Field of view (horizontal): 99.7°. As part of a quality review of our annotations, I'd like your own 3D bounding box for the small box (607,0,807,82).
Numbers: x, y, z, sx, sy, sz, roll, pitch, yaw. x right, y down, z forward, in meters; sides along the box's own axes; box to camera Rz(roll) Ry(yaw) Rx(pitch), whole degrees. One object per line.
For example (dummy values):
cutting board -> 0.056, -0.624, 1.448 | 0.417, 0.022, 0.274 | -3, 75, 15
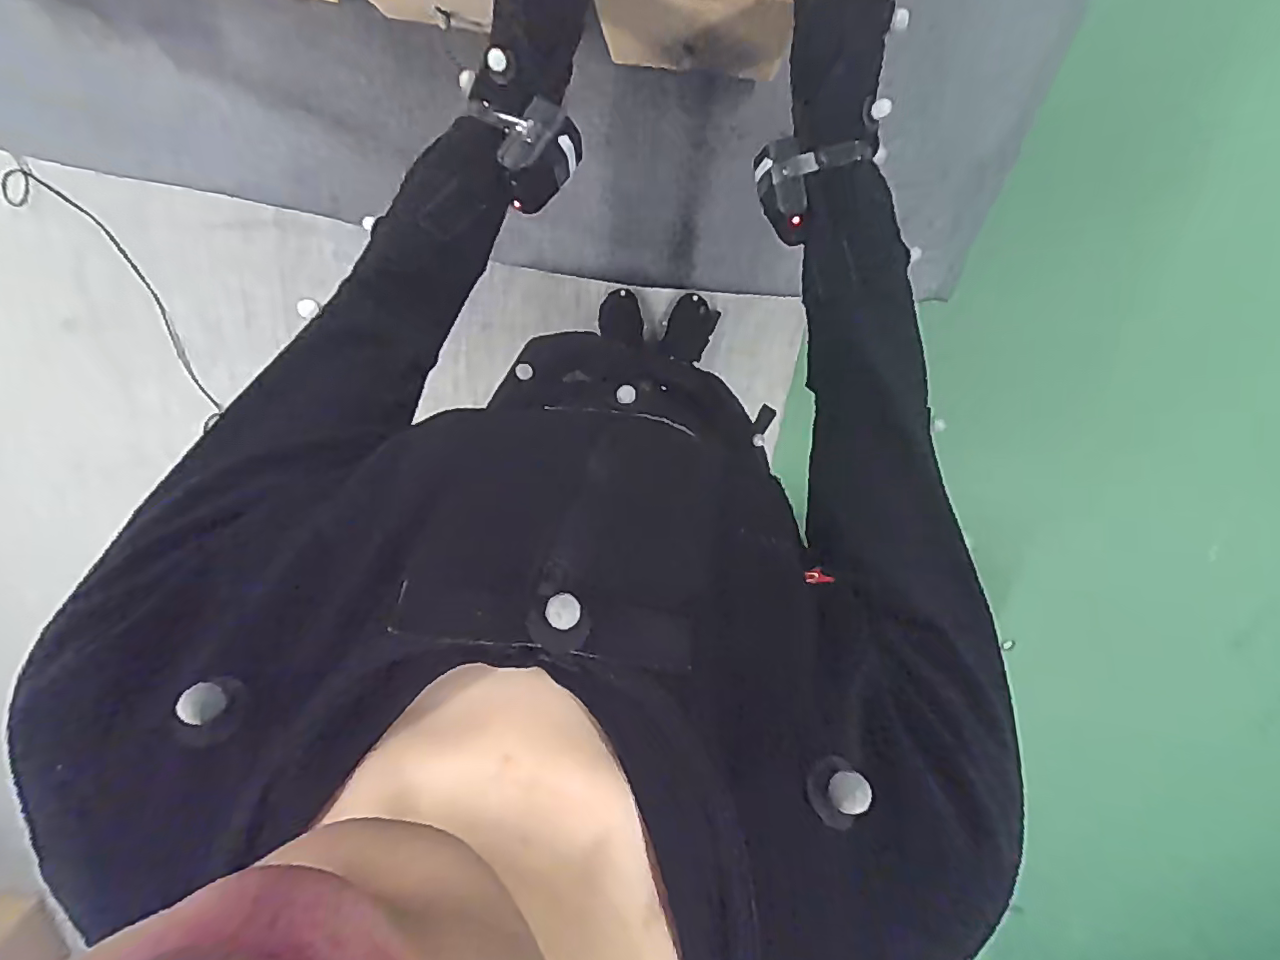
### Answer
small box -> 0.060, -0.470, 0.447 | 0.168, 0.176, 0.179 | 8, 110, 1
